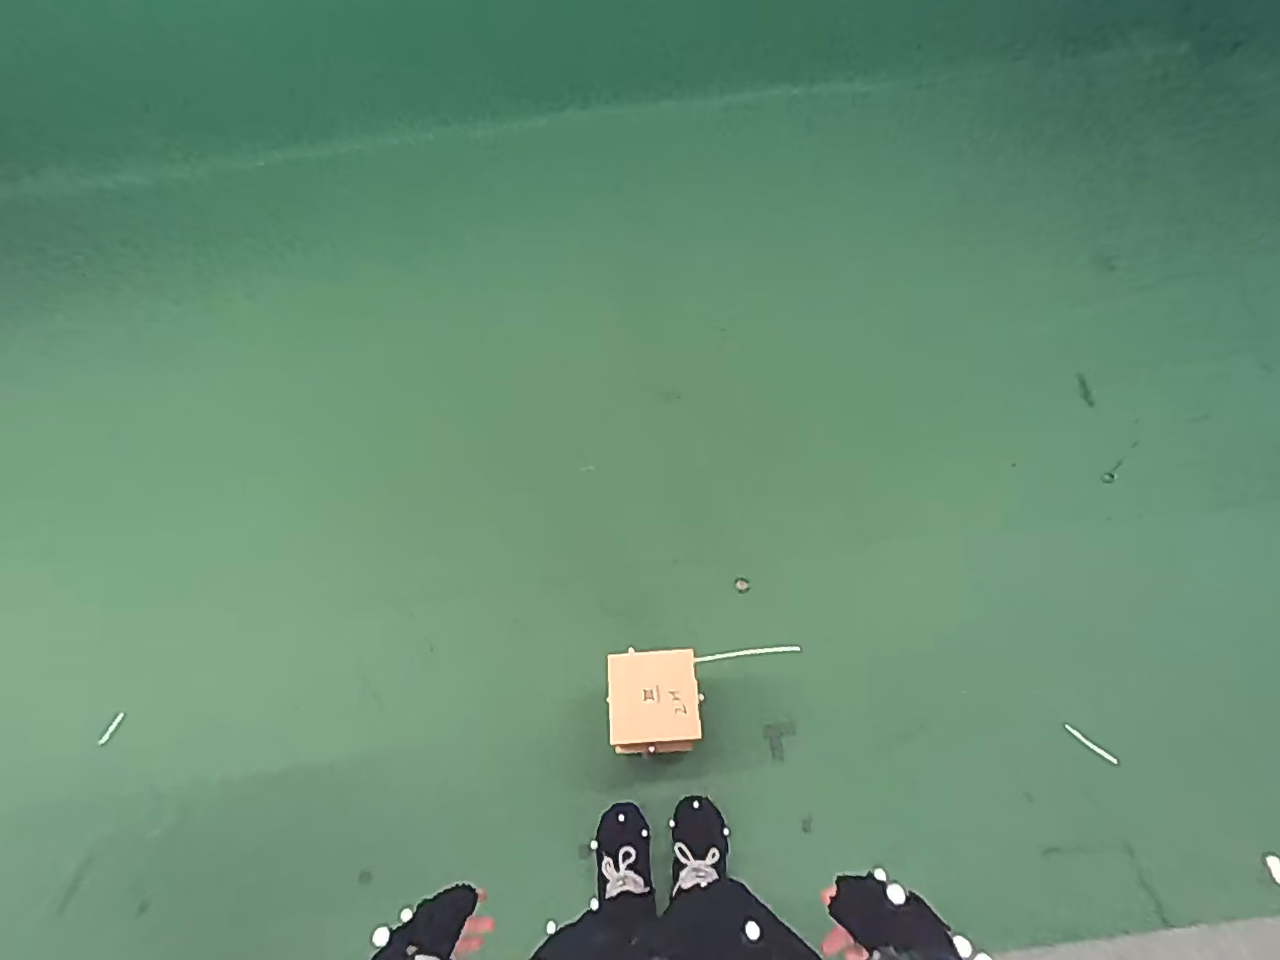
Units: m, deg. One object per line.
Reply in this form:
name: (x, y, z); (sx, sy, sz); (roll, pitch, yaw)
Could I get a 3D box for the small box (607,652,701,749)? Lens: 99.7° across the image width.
small box: (0.030, 0.458, 1.114); (0.179, 0.176, 0.168); (-4, 62, 1)

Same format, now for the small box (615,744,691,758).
small box: (0.032, 0.544, 1.254); (0.168, 0.176, 0.179); (-3, 62, 2)
